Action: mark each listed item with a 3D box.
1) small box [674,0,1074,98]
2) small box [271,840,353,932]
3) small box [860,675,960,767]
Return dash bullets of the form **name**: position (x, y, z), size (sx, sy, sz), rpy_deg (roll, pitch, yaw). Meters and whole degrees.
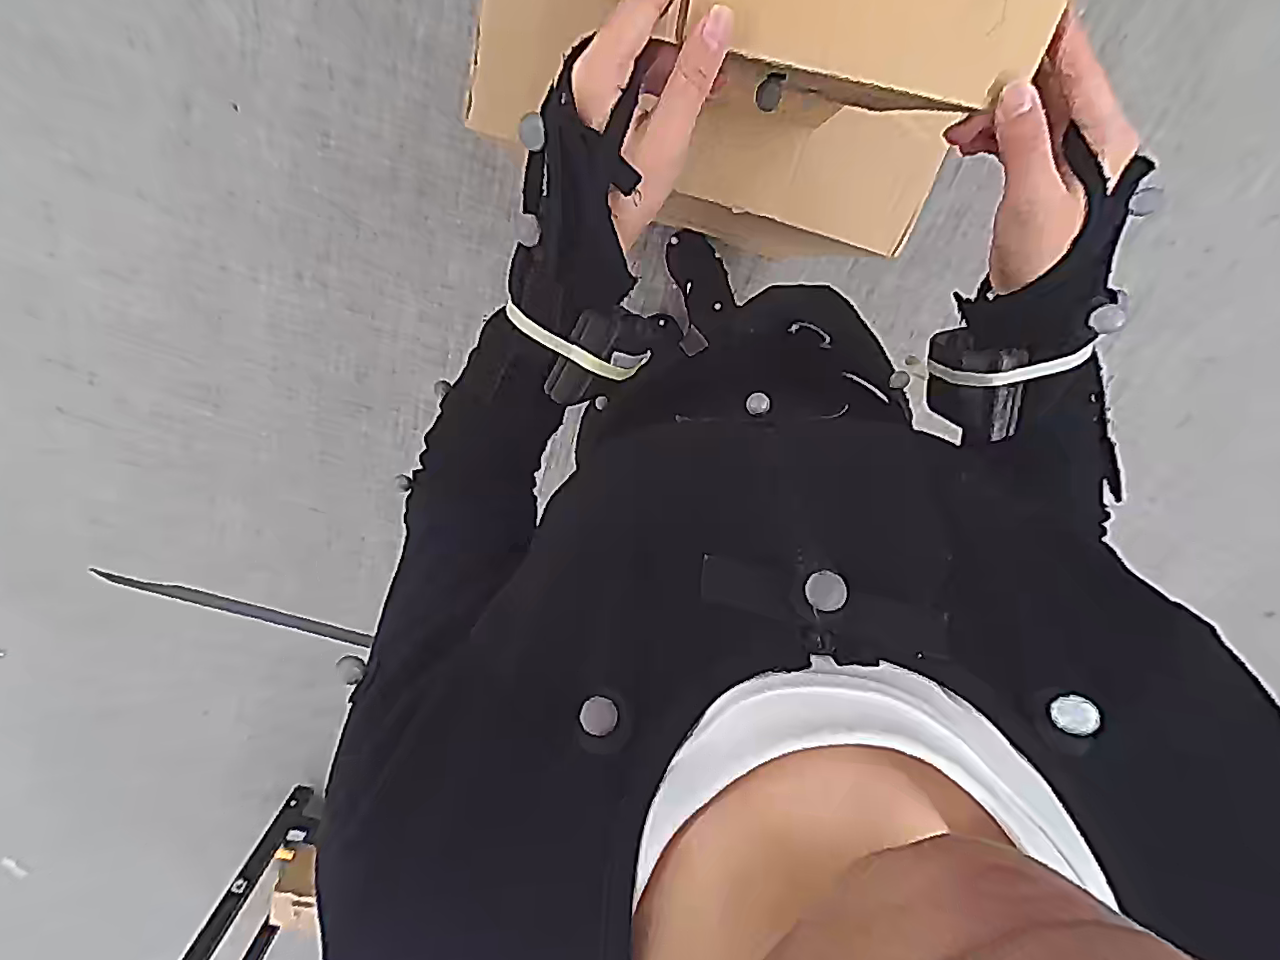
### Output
- **small box**: position (0.113, -0.303, 0.259), size (0.168, 0.176, 0.179), rpy_deg (8, 123, -6)
- **small box**: position (-1.053, 1.304, 1.744), size (0.168, 0.176, 0.179), rpy_deg (16, 112, -7)
- **small box**: position (0.786, 0.705, 1.595), size (0.179, 0.176, 0.168), rpy_deg (14, 111, -5)
